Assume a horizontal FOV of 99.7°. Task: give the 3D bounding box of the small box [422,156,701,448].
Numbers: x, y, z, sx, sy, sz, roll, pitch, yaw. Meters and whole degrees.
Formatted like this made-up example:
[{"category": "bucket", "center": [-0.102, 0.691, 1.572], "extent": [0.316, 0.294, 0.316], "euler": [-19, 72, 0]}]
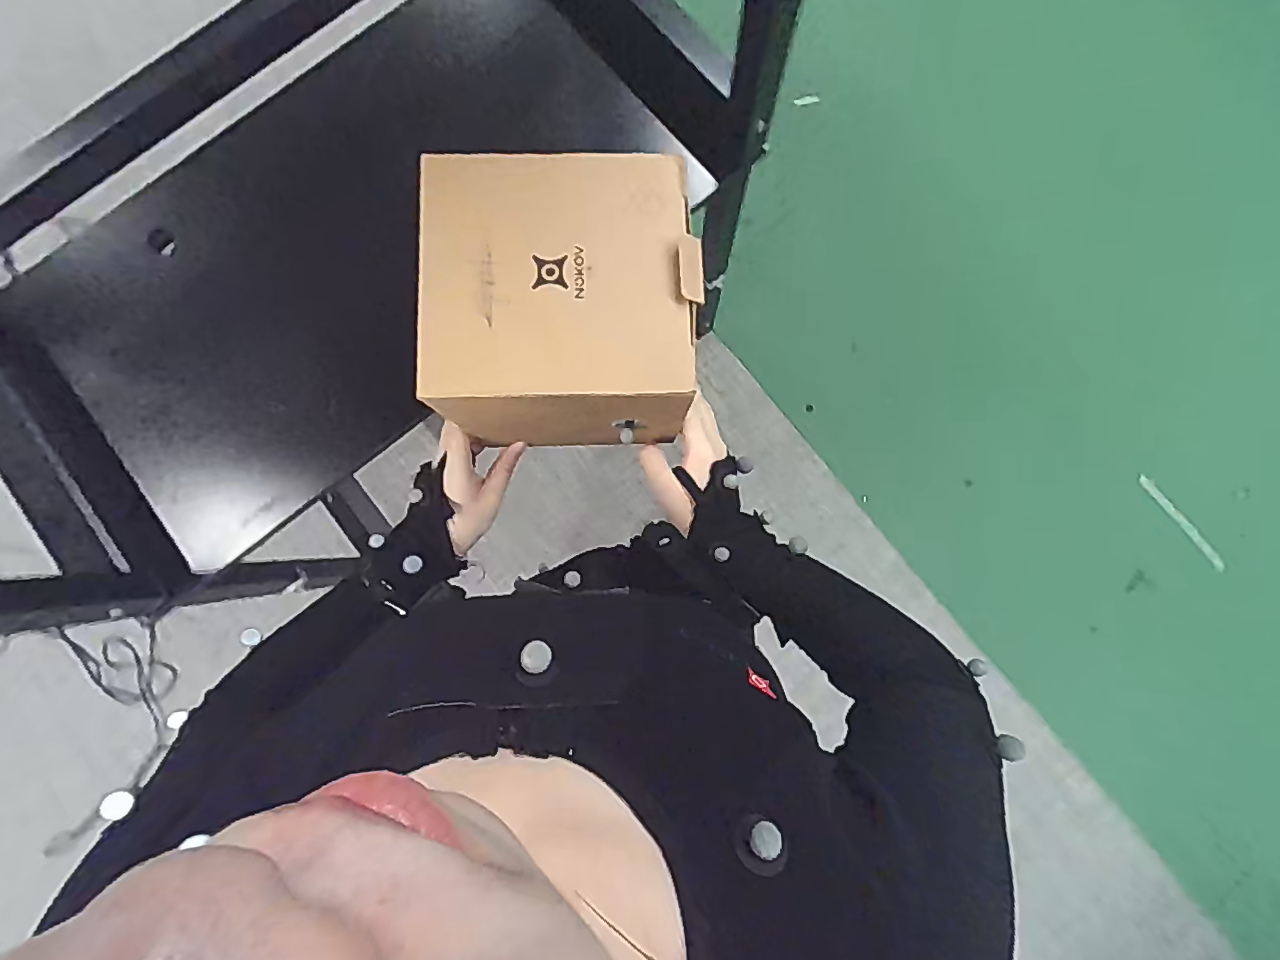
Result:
[{"category": "small box", "center": [-0.052, -0.121, 0.425], "extent": [0.179, 0.176, 0.168], "euler": [-2, 83, -1]}]
